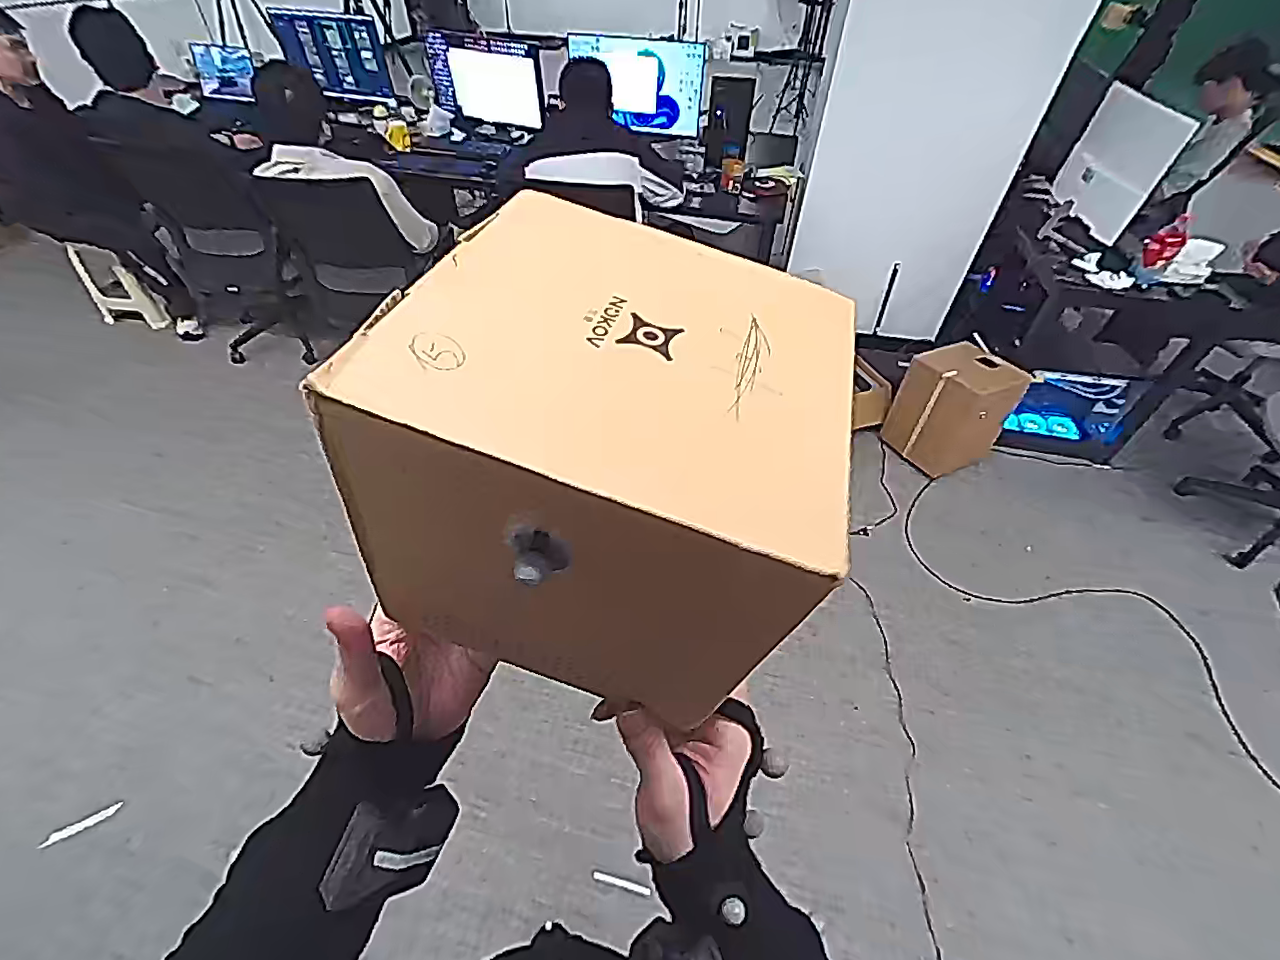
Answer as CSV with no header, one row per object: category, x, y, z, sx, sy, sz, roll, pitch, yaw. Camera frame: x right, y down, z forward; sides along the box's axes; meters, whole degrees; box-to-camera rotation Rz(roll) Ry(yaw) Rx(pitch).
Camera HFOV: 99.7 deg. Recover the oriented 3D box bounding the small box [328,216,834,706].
small box,-0.018,-0.003,0.288,0.179,0.176,0.168,19,50,1
